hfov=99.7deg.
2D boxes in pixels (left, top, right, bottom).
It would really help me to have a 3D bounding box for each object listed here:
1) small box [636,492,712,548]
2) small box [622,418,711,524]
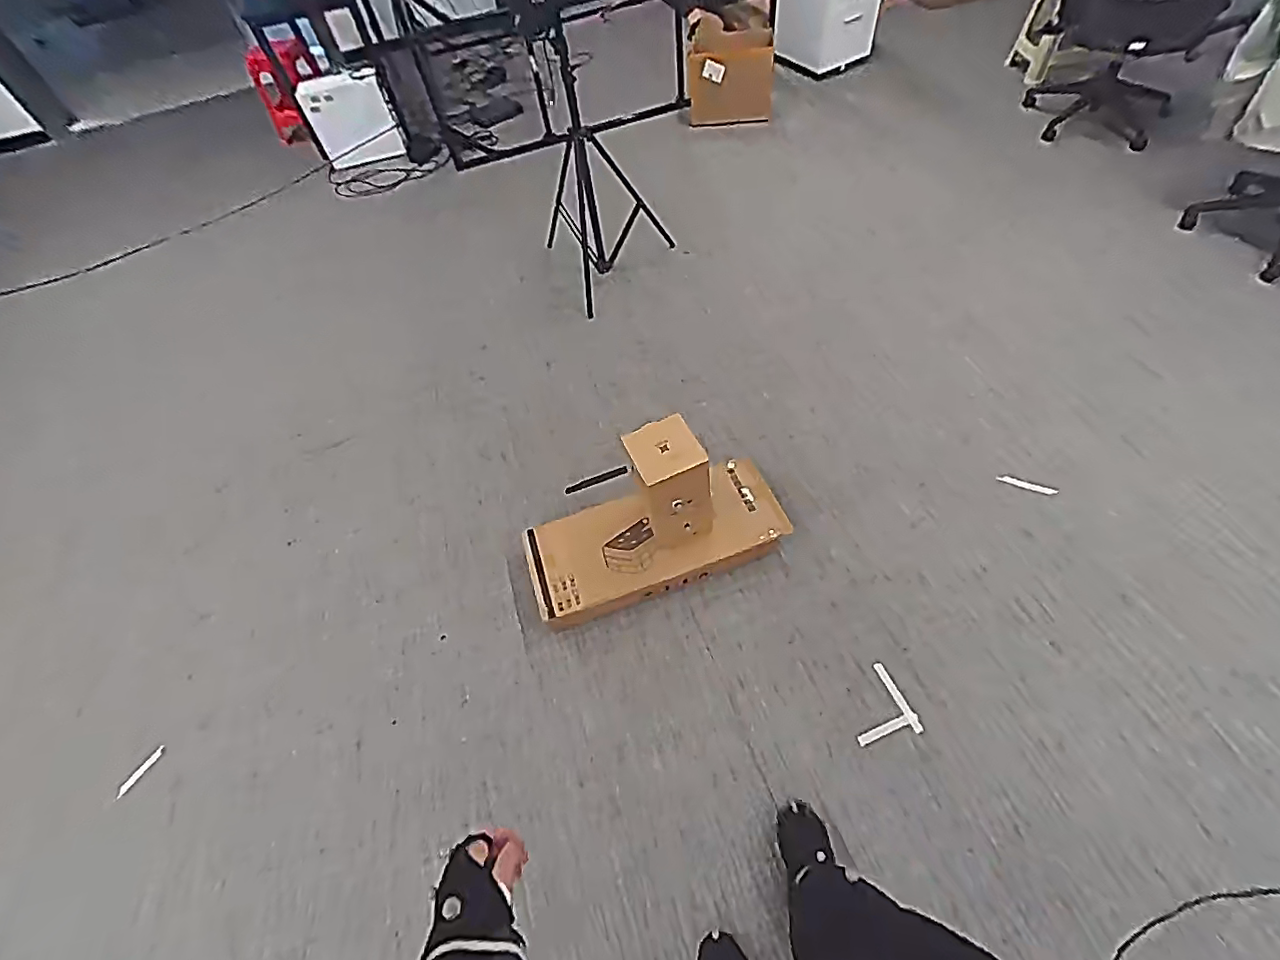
[{"bbox_3d":[0.095,0.071,1.511,0.168,0.176,0.179,-21,56,-7],"label":"small box"},{"bbox_3d":[0.068,-0.020,1.378,0.168,0.176,0.179,-24,56,-8],"label":"small box"}]
